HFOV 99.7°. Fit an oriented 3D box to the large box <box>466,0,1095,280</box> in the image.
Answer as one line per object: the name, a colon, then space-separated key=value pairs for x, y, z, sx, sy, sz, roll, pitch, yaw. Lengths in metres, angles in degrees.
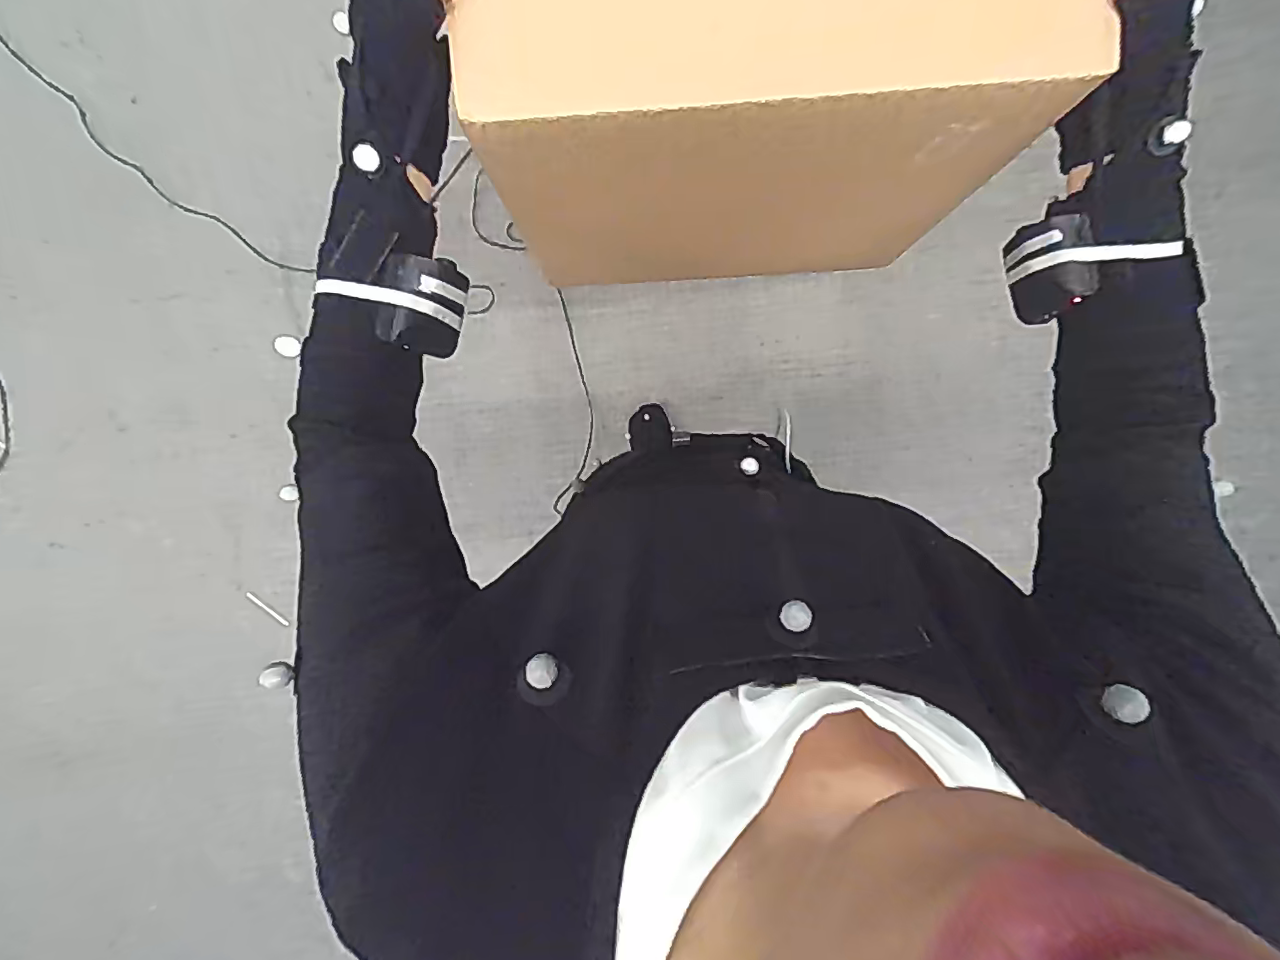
large box: x=0.078 y=-0.399 z=0.489 sx=0.408 sy=0.320 sz=0.320 roll=-4 pitch=91 yaw=0
